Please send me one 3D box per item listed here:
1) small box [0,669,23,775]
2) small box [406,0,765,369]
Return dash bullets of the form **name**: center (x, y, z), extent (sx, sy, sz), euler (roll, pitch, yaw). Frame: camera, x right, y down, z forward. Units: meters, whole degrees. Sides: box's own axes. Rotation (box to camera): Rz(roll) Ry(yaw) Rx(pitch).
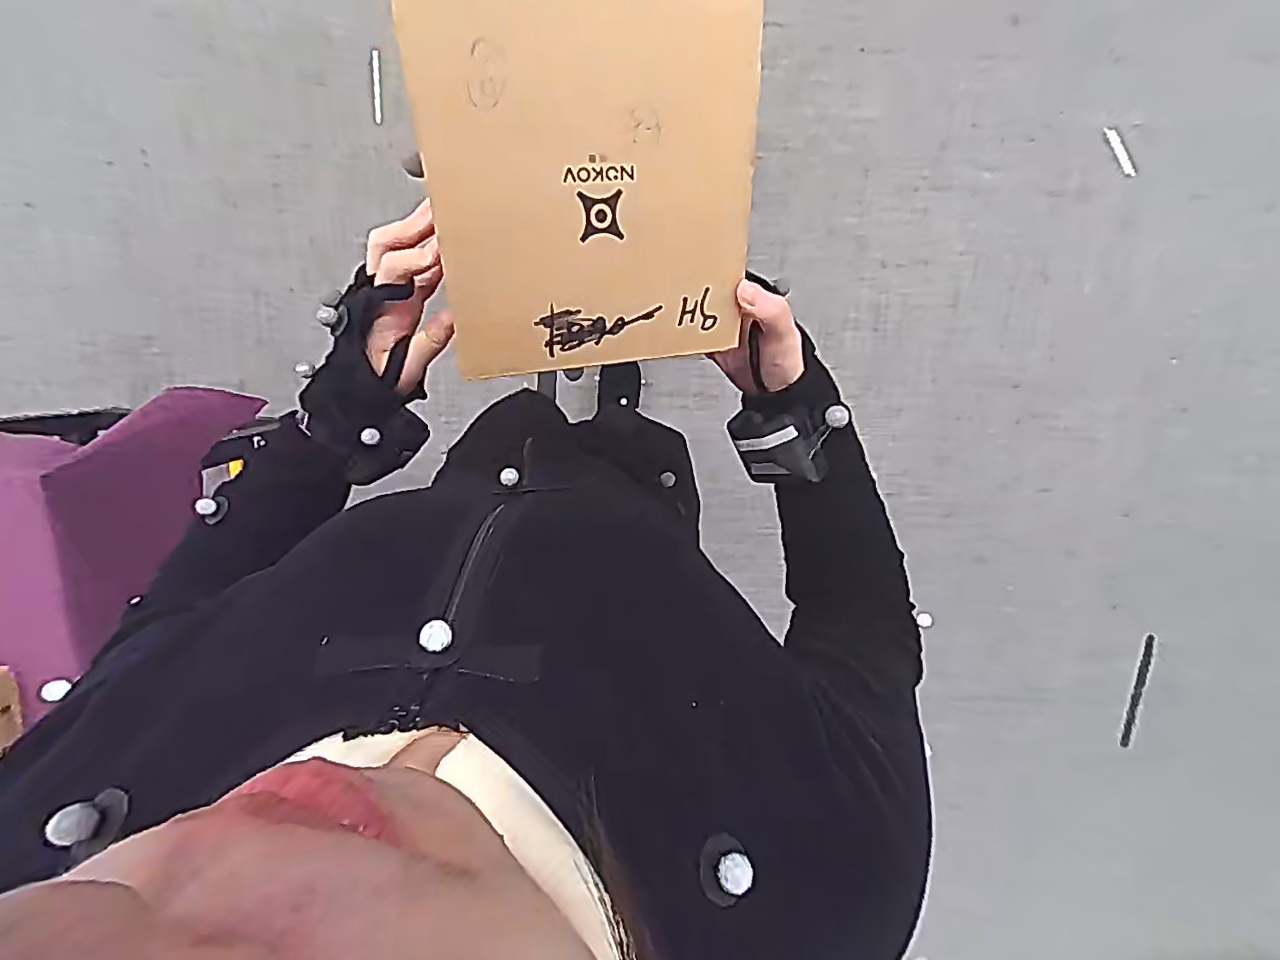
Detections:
- **small box**: center (-1.016, 0.363, 0.739), extent (0.179, 0.176, 0.168), euler (6, 103, -1)
- **small box**: center (-0.042, -0.185, 0.336), extent (0.168, 0.176, 0.179), euler (-10, 122, -14)
